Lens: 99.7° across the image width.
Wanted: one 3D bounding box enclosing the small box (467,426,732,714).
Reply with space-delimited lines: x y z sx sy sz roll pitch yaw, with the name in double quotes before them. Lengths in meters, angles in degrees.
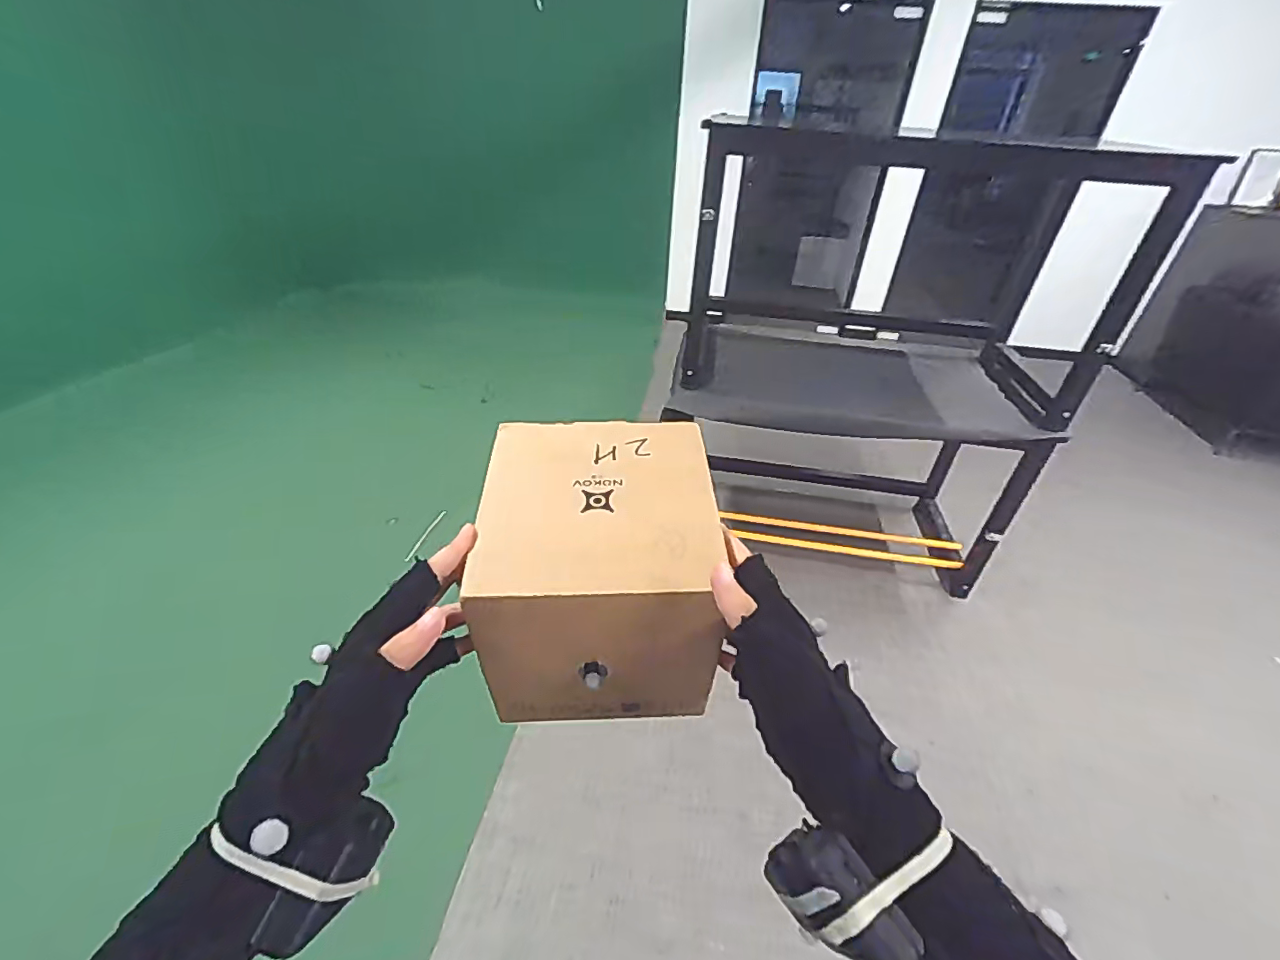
"small box" -0.027 0.074 0.440 0.168 0.176 0.179 0 41 -3
